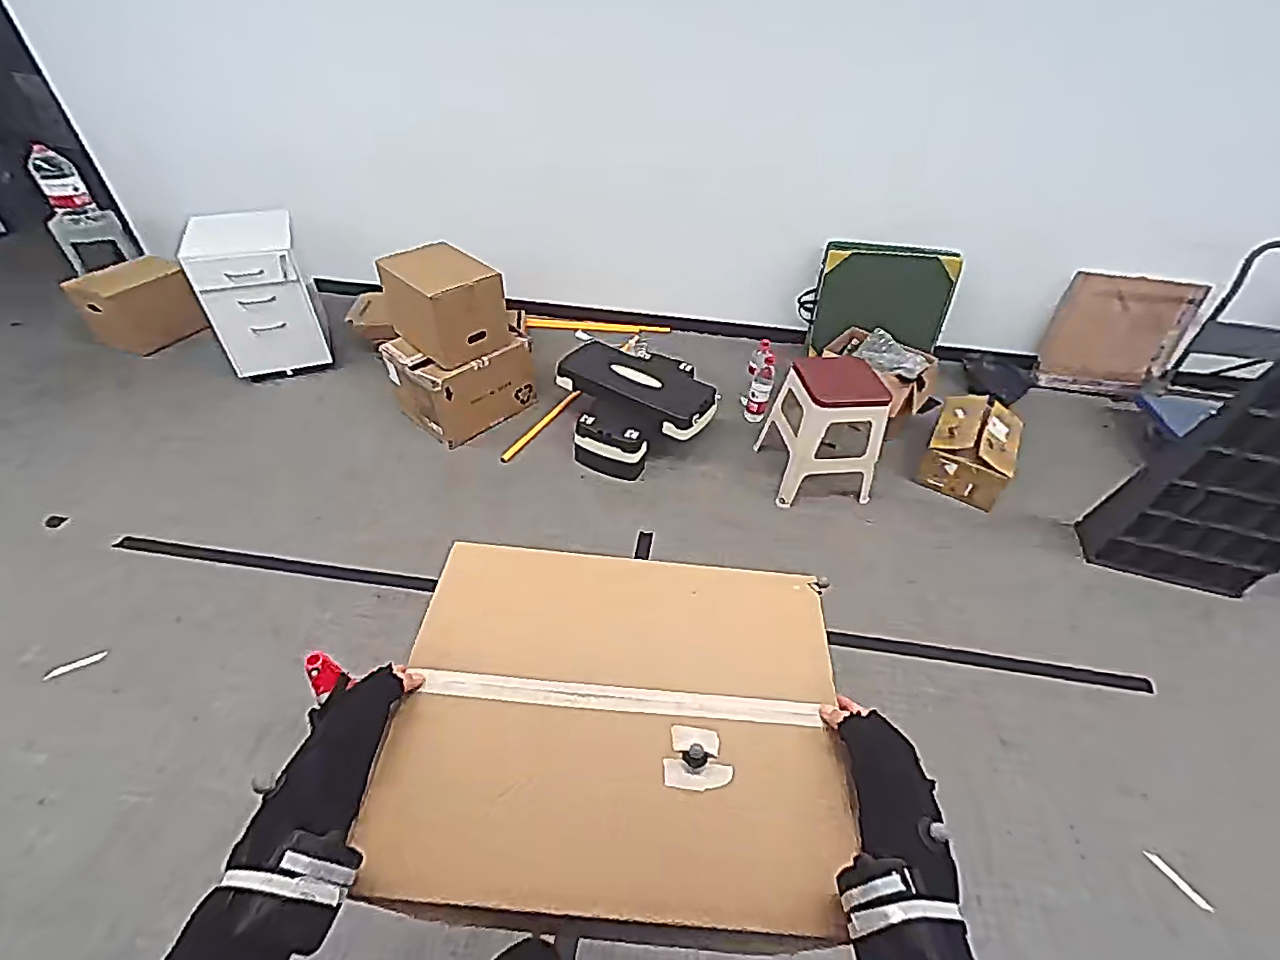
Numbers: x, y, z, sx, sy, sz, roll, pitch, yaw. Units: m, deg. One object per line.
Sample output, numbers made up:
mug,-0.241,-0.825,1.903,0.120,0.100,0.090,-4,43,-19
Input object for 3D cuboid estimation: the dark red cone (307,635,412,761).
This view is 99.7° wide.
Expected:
dark red cone,-0.717,0.495,1.302,0.201,0.394,0.202,13,44,8

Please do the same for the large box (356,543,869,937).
large box,-0.024,0.300,0.618,0.408,0.320,0.320,6,48,-1
